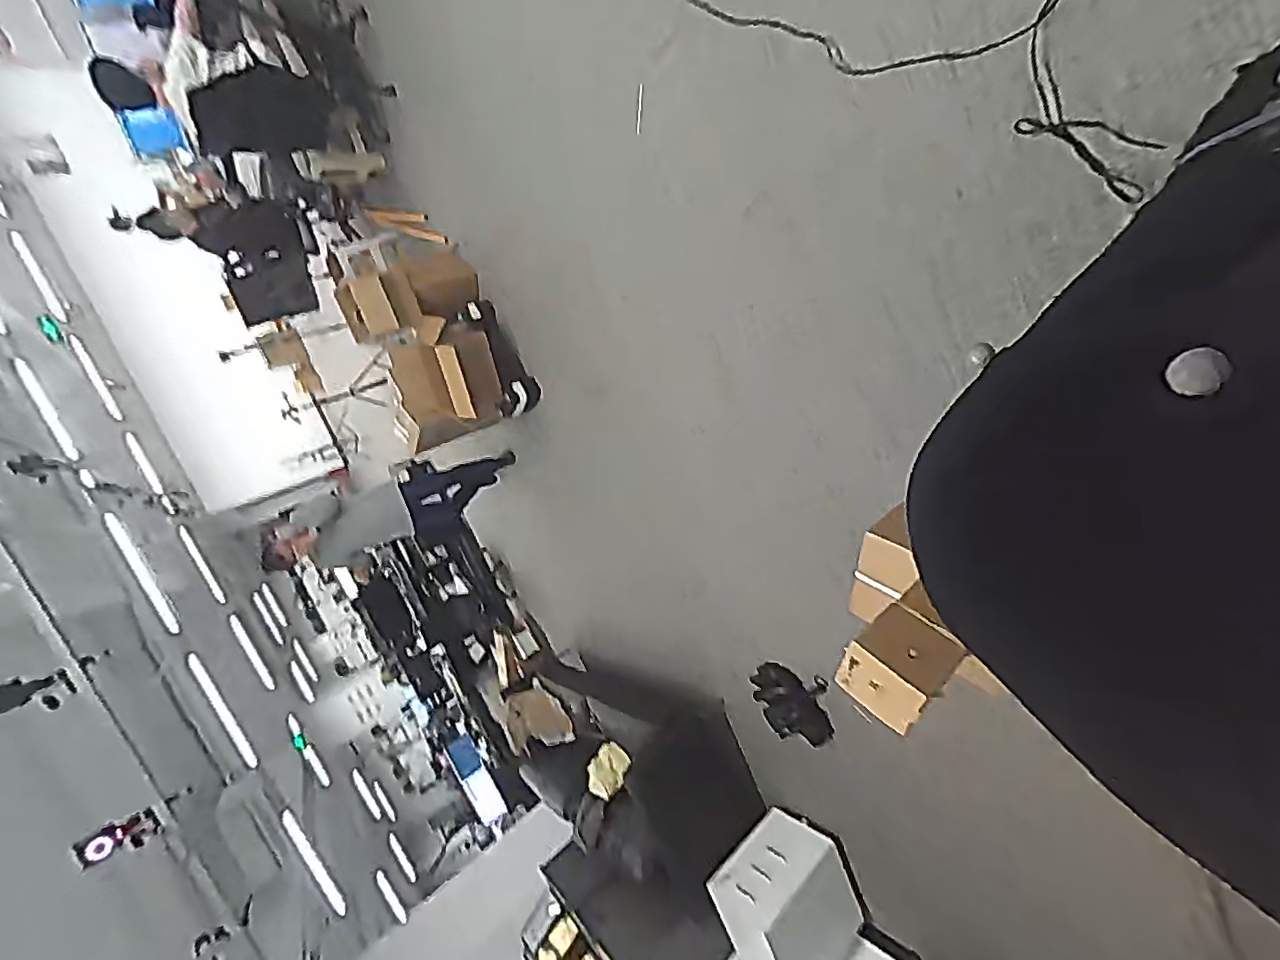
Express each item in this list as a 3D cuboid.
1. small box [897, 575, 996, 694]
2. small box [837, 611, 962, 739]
[{"bbox_3d":[0.705,0.358,1.281,0.168,0.176,0.179,36,140,37],"label":"small box"},{"bbox_3d":[0.578,0.427,1.209,0.179,0.176,0.168,36,141,39],"label":"small box"}]
